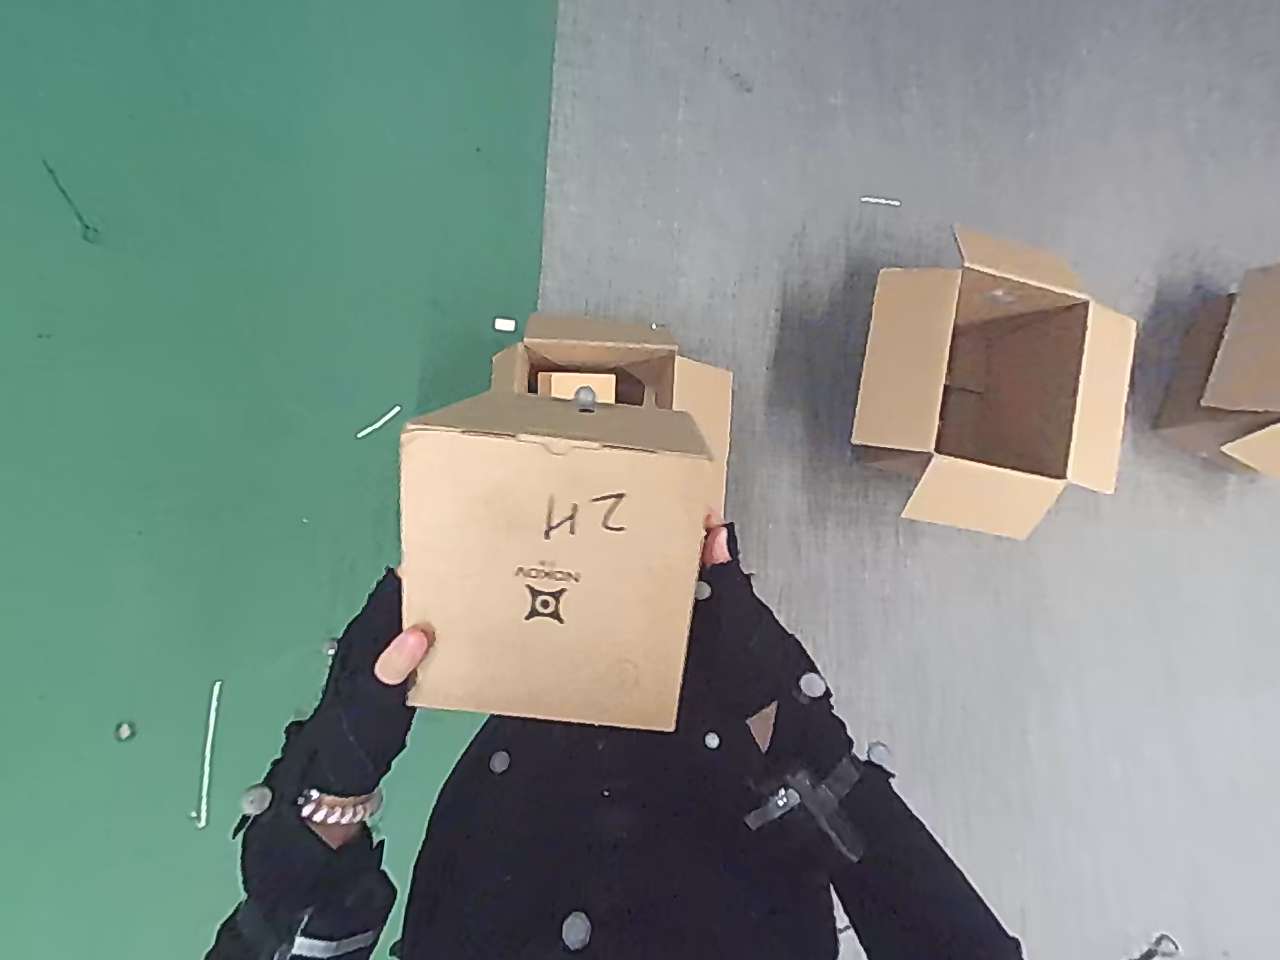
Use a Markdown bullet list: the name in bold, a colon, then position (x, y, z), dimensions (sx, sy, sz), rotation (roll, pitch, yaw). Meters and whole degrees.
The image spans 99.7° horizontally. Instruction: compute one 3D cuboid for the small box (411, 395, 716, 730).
- **small box**: position (-0.049, 0.043, 0.389), dimensions (0.168, 0.176, 0.179), rotation (6, 105, -2)
